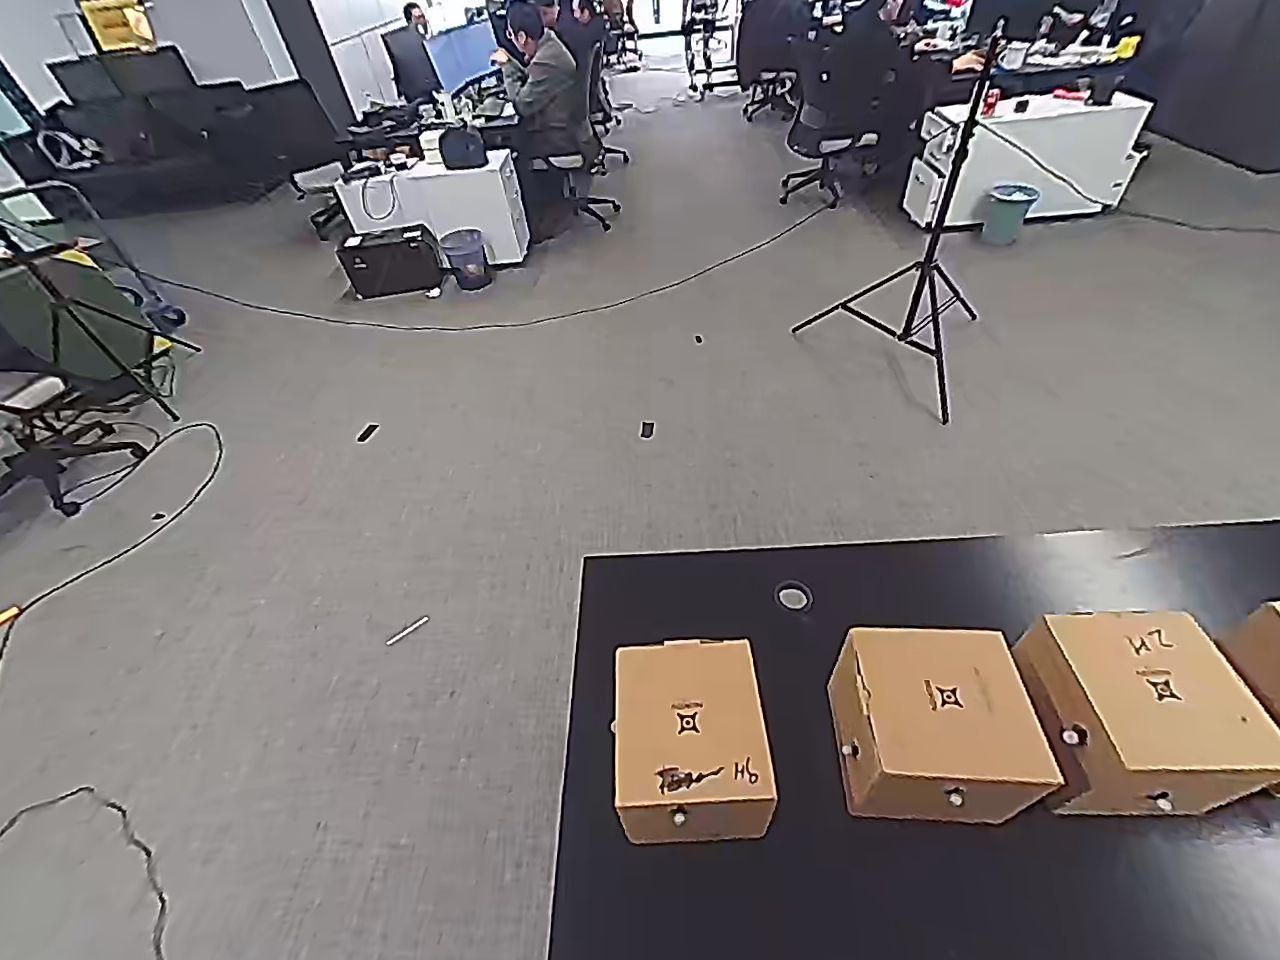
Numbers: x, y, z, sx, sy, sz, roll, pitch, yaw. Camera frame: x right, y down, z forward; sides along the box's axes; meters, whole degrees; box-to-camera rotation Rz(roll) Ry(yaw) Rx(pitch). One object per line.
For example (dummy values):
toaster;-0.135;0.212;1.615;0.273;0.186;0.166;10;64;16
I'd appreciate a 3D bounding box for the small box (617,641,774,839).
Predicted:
small box;0.064;0.322;0.670;0.168;0.176;0.179;-4;45;4

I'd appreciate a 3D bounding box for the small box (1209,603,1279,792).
small box;0.827;0.259;0.636;0.179;0.176;0.168;-2;45;5

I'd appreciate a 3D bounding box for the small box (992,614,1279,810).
small box;0.567;0.280;0.649;0.168;0.176;0.179;-2;45;5
